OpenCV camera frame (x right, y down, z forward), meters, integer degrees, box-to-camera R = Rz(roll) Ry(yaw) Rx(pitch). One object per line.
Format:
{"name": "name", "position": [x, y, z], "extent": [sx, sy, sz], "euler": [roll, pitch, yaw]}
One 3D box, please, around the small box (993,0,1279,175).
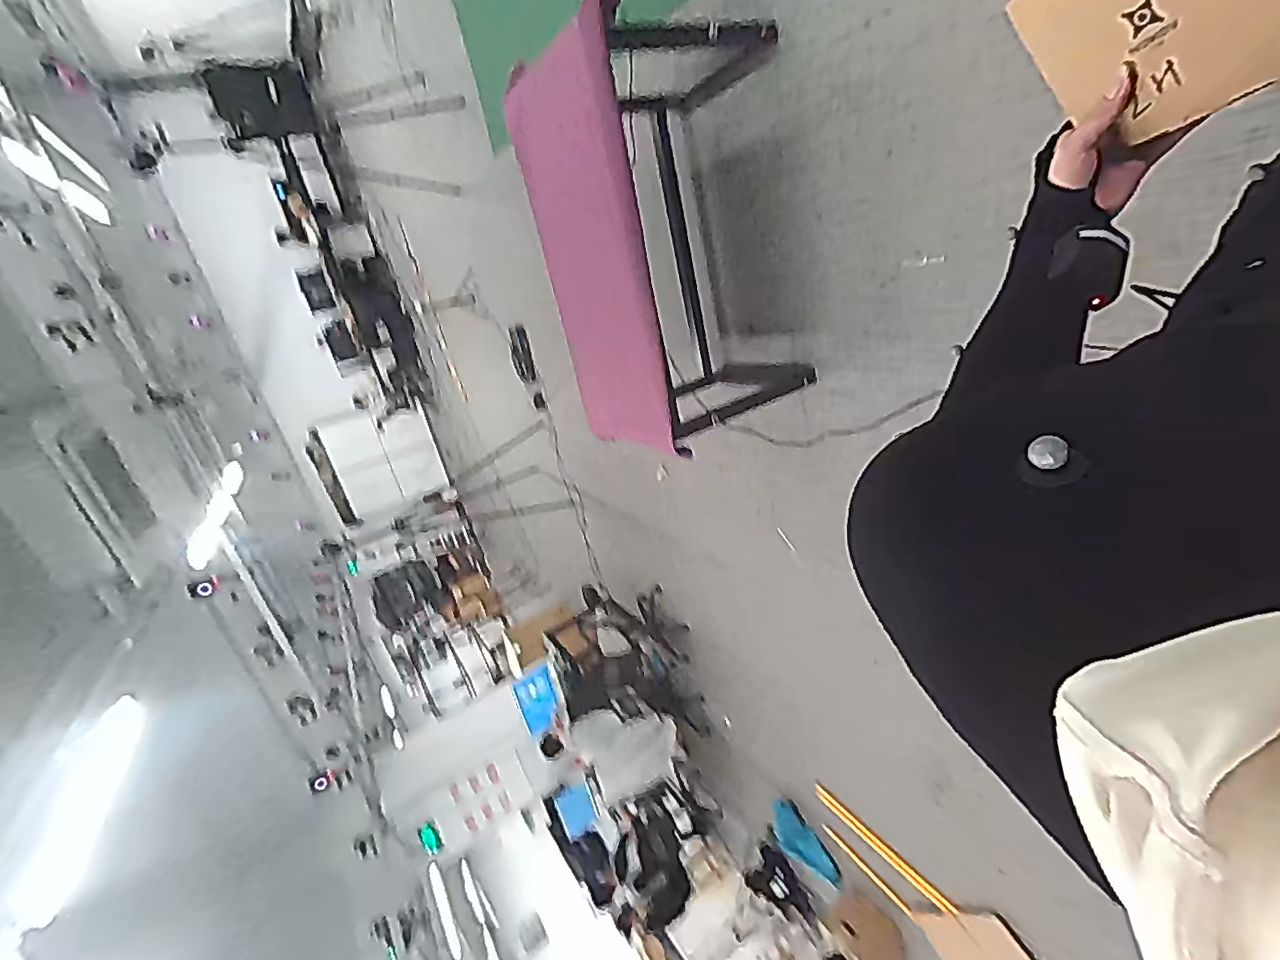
{"name": "small box", "position": [0.451, -0.405, 0.438], "extent": [0.179, 0.176, 0.168], "euler": [47, 177, -11]}
